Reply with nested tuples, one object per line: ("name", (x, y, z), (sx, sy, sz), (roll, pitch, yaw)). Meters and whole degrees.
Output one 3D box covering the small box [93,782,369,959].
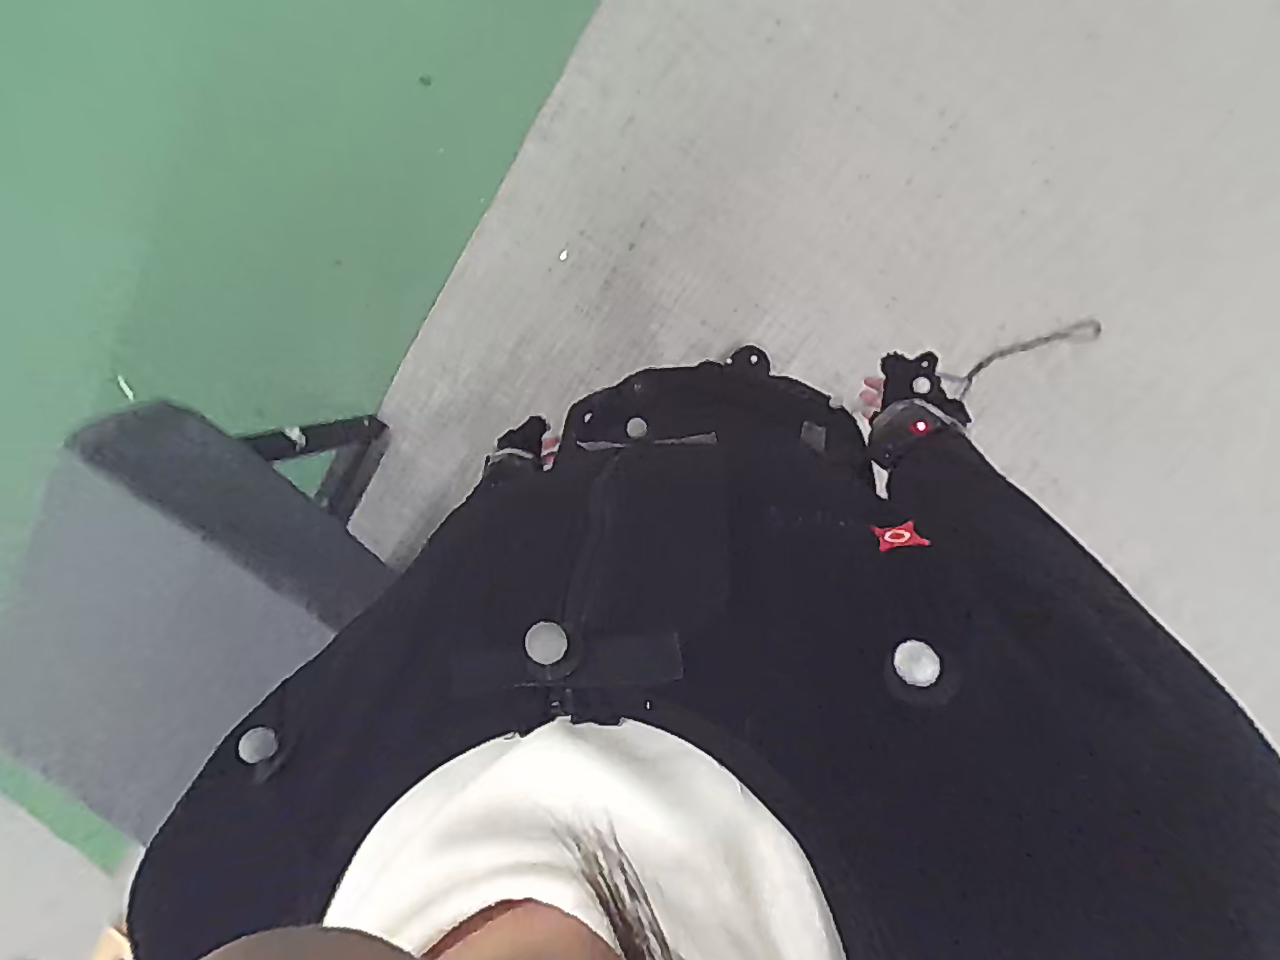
("small box", (-0.465, 0.496, 0.631), (0.179, 0.176, 0.168), (33, 106, 2))
